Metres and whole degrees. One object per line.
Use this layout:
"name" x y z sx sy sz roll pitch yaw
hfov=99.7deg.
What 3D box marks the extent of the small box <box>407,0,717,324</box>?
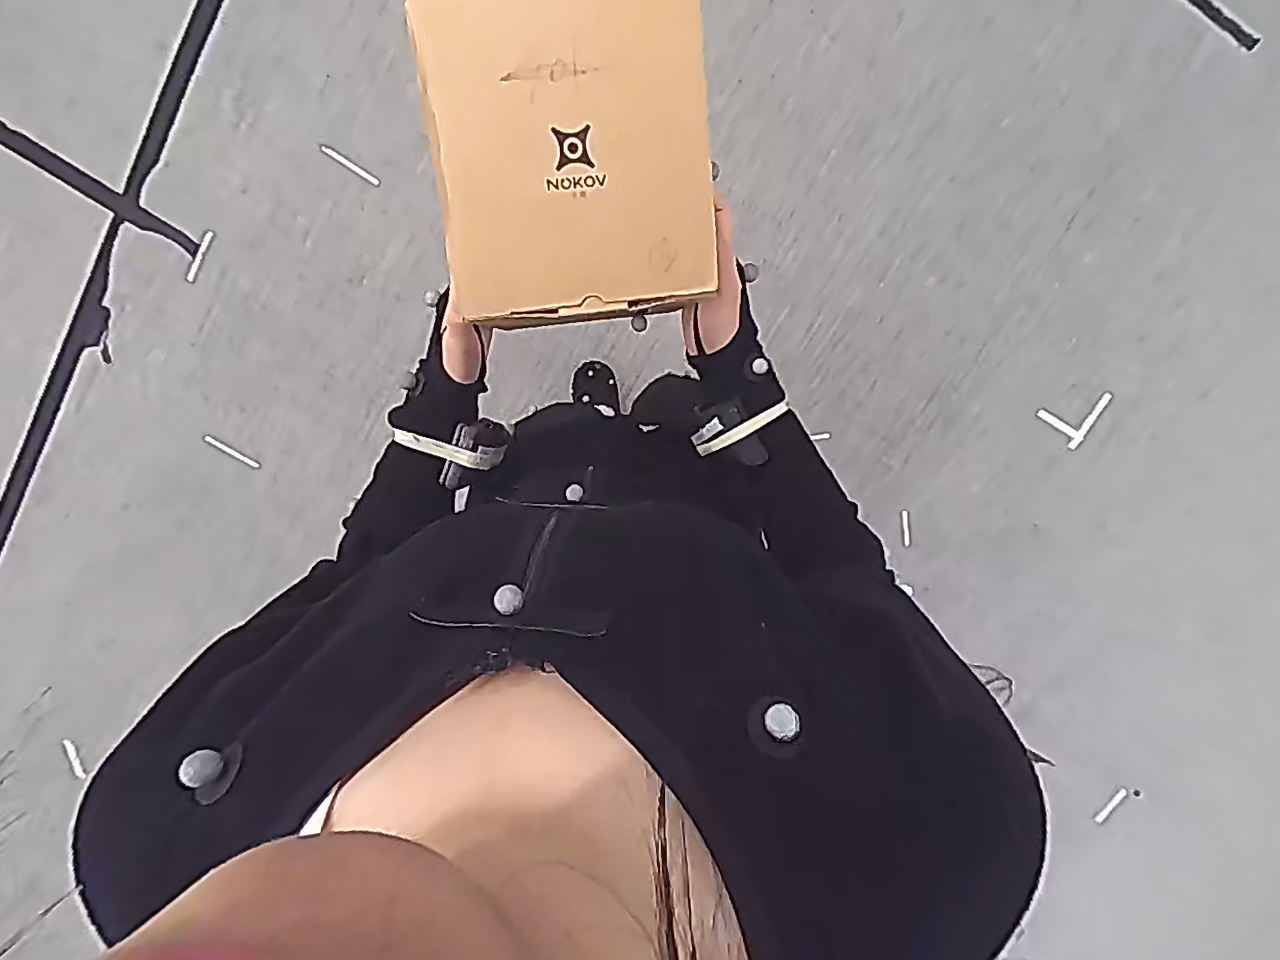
"small box" -0.046 -0.211 0.396 0.168 0.176 0.179 -8 104 -5
